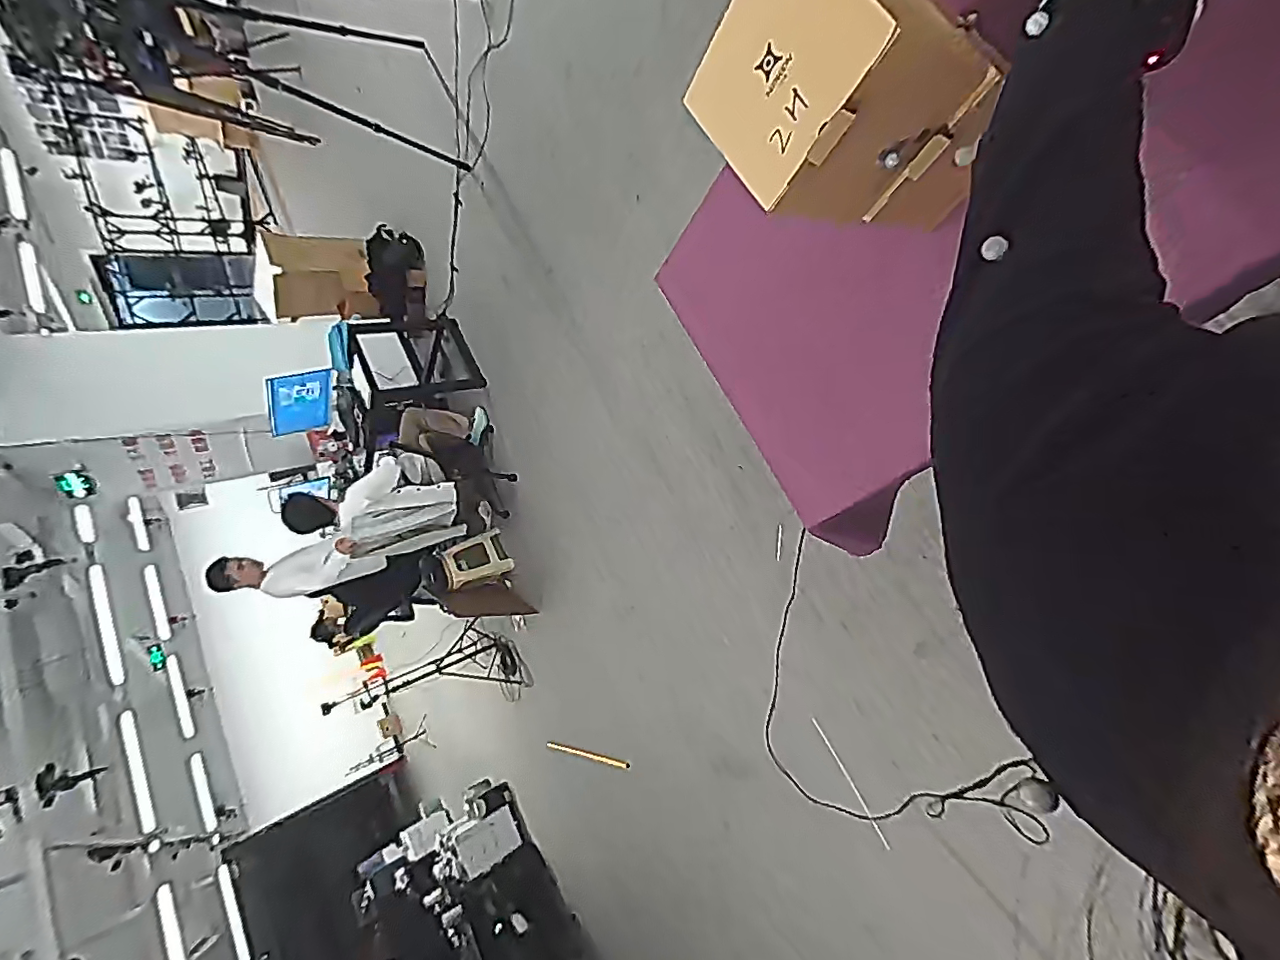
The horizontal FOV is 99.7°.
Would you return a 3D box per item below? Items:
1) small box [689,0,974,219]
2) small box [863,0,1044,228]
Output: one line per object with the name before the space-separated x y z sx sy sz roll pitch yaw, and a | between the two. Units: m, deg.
small box | 0.189 -0.391 0.550 0.179 0.176 0.168 62 141 16
small box | 0.324 -0.424 0.638 0.168 0.176 0.179 -47 65 48
